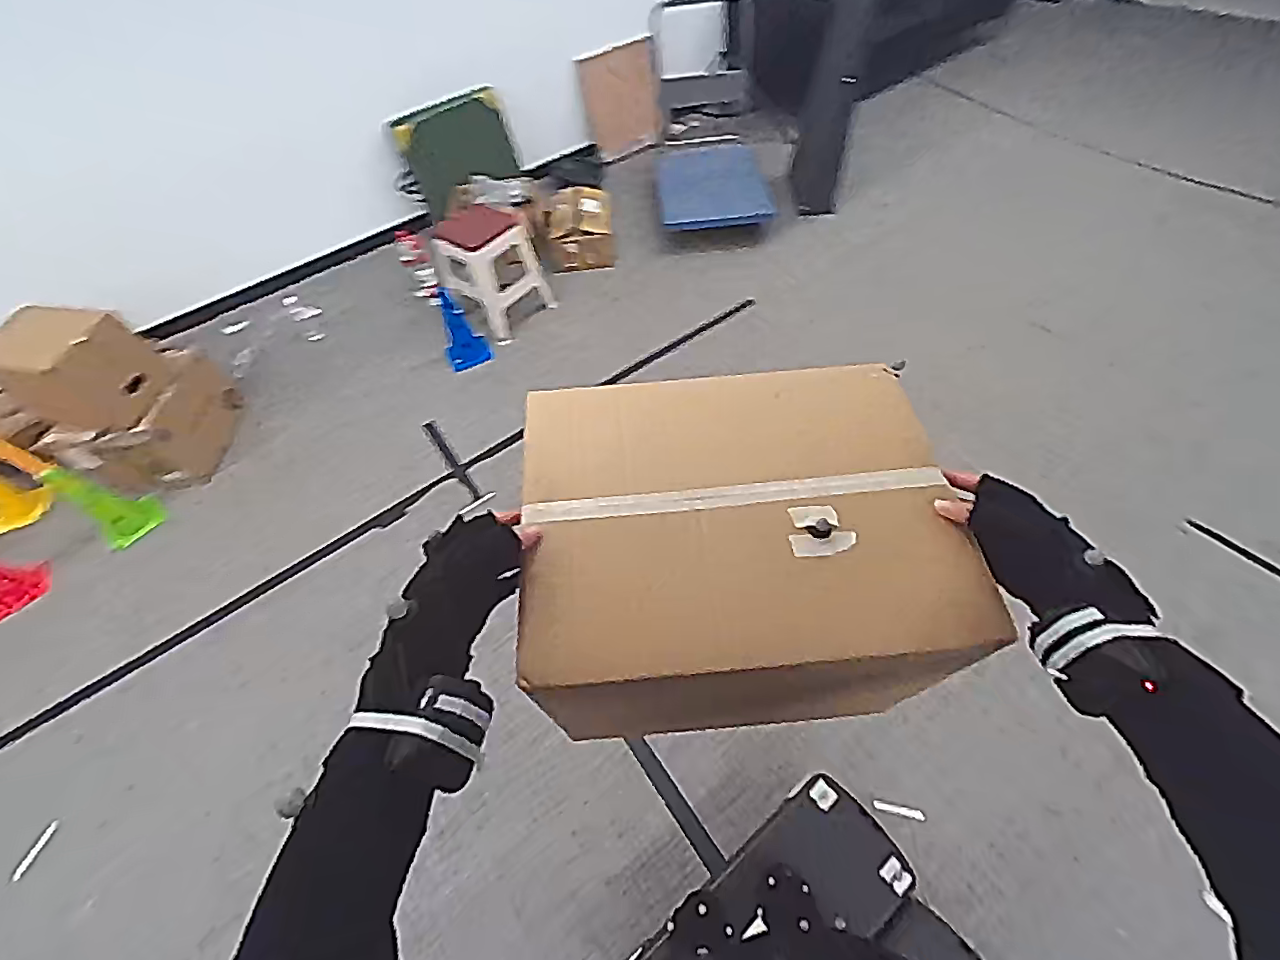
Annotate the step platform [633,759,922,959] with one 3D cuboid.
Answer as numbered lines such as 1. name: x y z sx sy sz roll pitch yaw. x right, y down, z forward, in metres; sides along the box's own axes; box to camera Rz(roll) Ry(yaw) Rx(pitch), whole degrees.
1. step platform: 0.305 0.966 1.204 0.684 0.204 0.286 -36 57 -19

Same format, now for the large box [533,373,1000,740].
1. large box: 0.096 0.105 0.652 0.408 0.320 0.320 -5 58 -2
